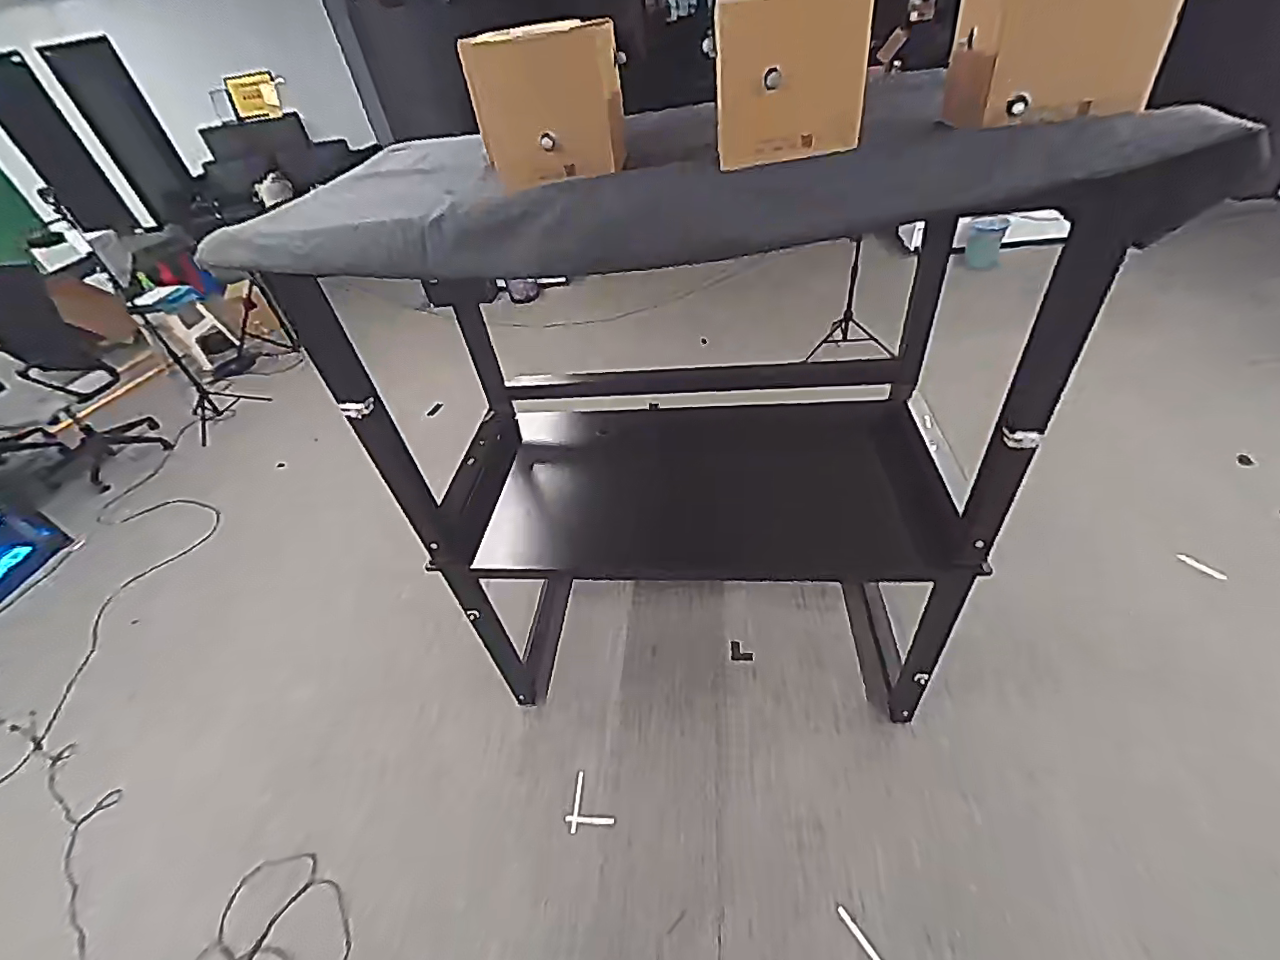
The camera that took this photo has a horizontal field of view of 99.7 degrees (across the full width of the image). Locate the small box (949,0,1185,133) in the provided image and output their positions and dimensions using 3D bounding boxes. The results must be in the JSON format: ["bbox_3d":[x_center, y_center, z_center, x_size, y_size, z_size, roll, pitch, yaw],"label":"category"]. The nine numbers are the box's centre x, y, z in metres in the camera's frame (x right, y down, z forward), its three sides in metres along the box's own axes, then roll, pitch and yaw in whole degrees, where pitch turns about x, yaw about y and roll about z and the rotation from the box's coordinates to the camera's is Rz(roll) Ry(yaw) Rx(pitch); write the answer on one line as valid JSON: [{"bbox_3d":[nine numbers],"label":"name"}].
[{"bbox_3d":[0.483,-0.513,0.624,0.168,0.176,0.179,0,39,11],"label":"small box"}]

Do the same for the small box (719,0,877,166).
[{"bbox_3d":[0.186,-0.505,0.676,0.168,0.176,0.179,-2,40,8],"label":"small box"}]
